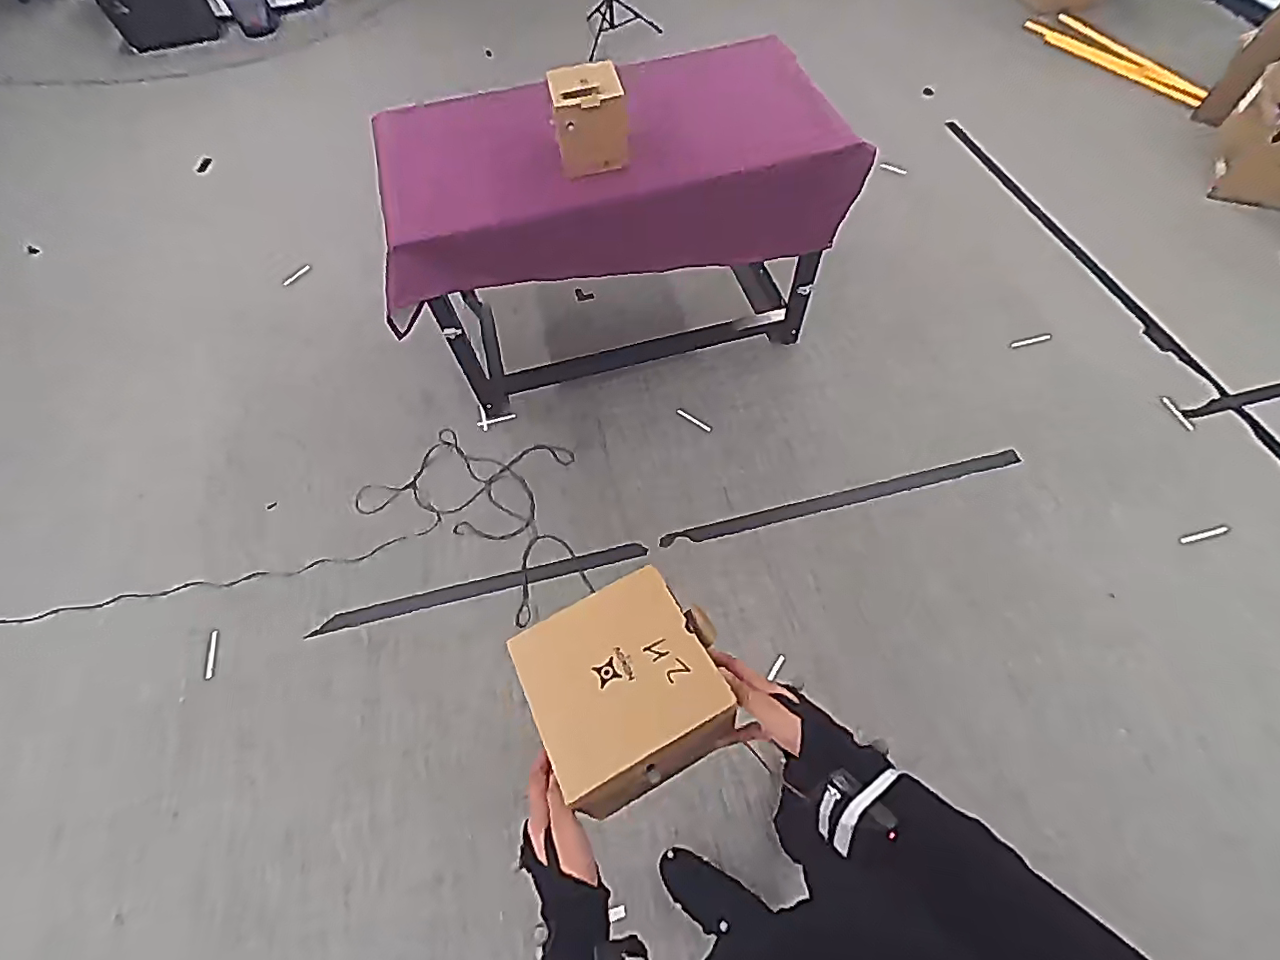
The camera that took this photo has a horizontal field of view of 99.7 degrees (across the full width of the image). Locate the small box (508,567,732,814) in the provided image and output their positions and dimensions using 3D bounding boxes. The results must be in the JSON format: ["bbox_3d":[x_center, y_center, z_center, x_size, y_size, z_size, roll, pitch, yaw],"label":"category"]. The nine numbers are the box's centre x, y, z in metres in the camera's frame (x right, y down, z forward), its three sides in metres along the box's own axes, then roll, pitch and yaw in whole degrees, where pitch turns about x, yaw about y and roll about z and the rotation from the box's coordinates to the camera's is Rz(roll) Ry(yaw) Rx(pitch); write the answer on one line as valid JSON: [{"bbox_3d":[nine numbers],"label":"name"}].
[{"bbox_3d":[-0.015,0.232,0.585,0.179,0.176,0.168,-26,55,-11],"label":"small box"}]
